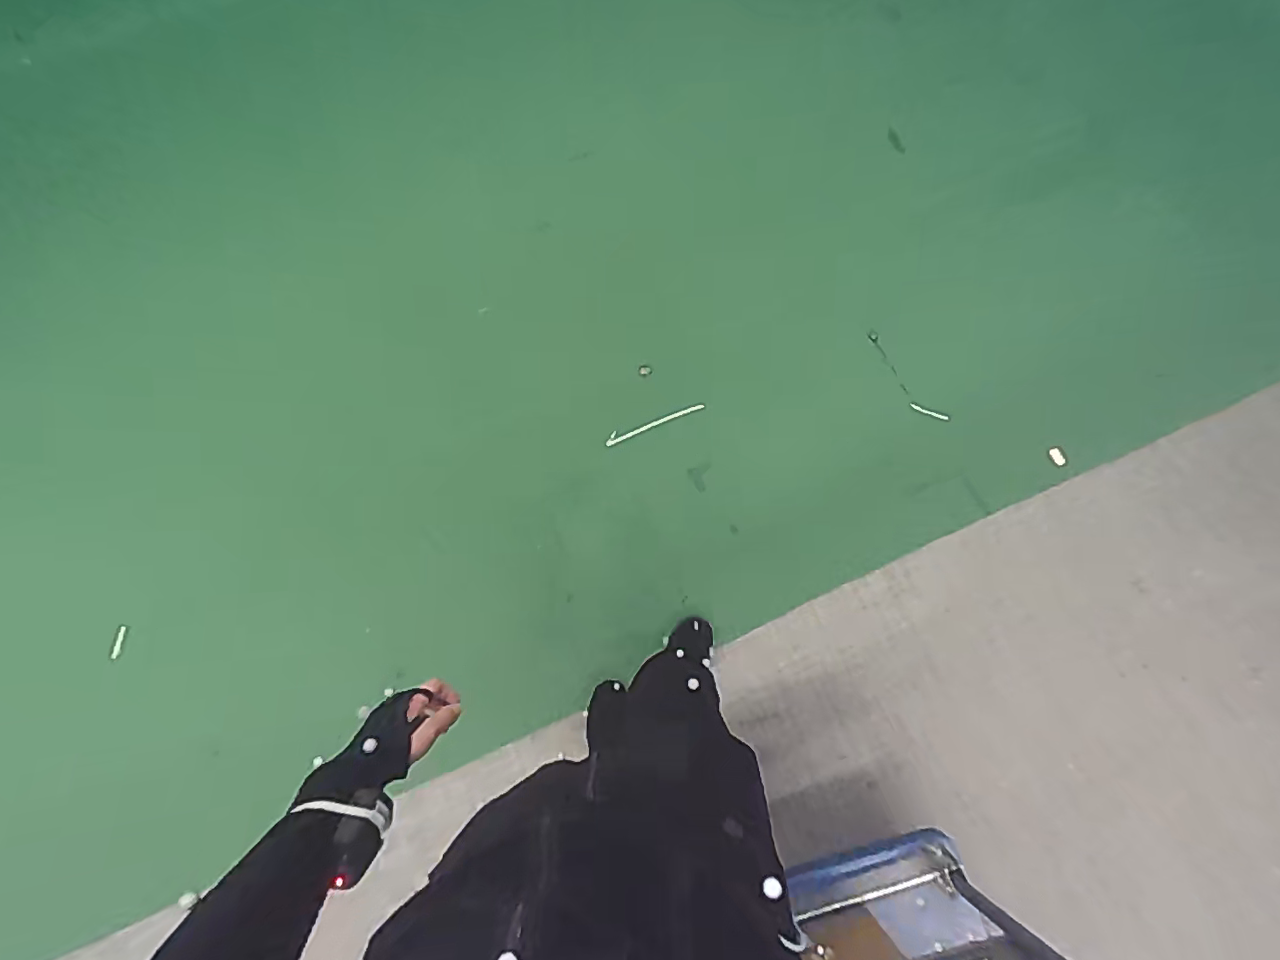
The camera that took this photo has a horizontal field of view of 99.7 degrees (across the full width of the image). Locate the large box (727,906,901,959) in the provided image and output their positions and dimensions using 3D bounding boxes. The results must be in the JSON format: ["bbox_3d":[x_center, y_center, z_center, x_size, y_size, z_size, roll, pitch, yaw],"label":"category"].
[{"bbox_3d":[0.375,1.067,0.920,0.320,0.320,0.408,-17,75,-3],"label":"large box"}]
